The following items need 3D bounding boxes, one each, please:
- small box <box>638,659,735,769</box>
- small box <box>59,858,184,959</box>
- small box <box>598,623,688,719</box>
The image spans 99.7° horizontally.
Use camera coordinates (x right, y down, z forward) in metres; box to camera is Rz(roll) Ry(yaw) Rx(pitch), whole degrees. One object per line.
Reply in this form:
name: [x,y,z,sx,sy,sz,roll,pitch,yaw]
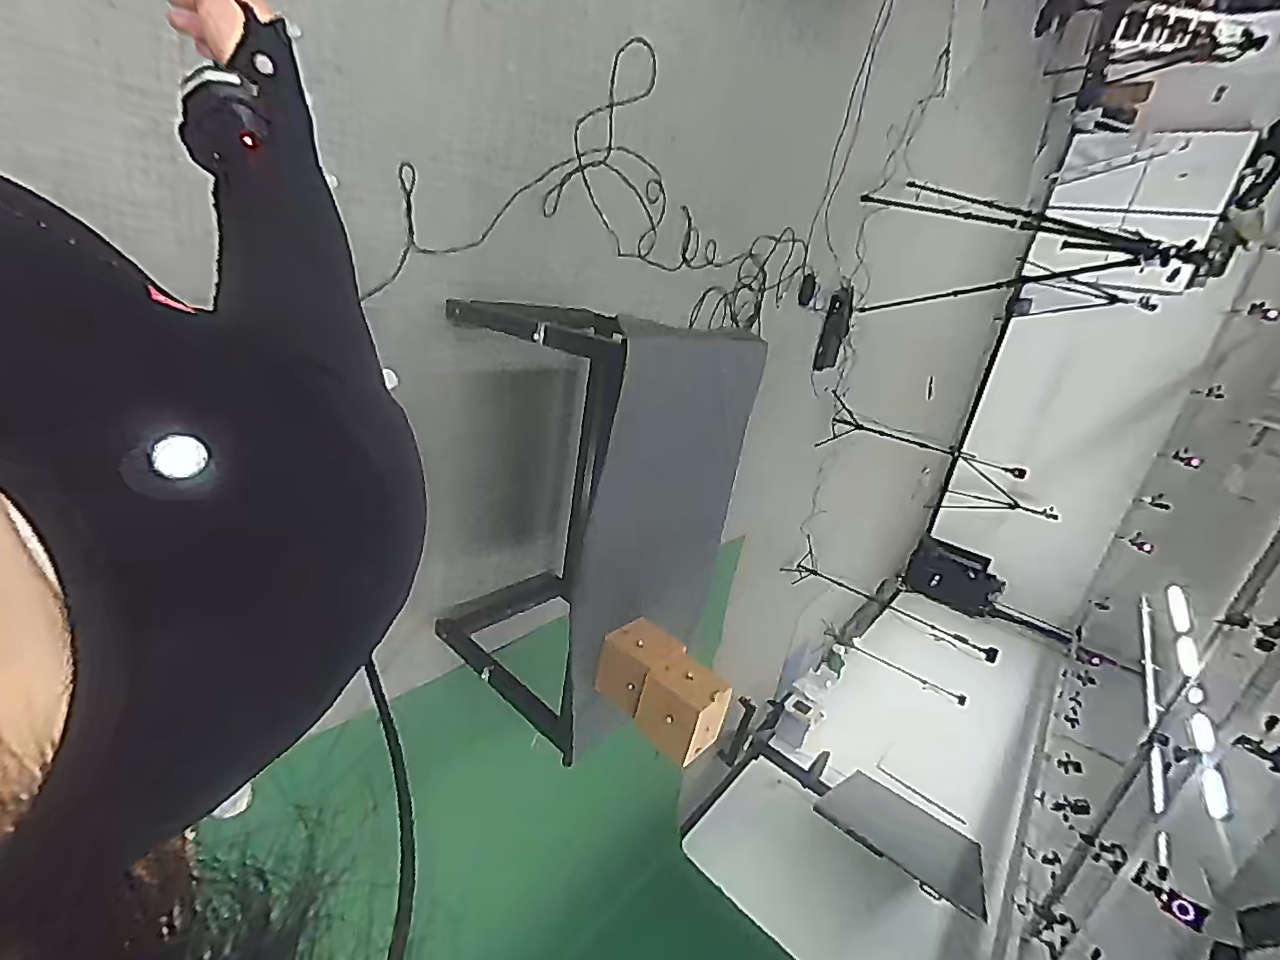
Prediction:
small box: [0.115,0.583,1.382,0.168,0.176,0.179,-6,113,-51]
small box: [-1.132,0.992,1.181,0.179,0.176,0.168,-11,118,-49]
small box: [0.005,0.515,1.485,0.168,0.176,0.179,-10,118,-50]
